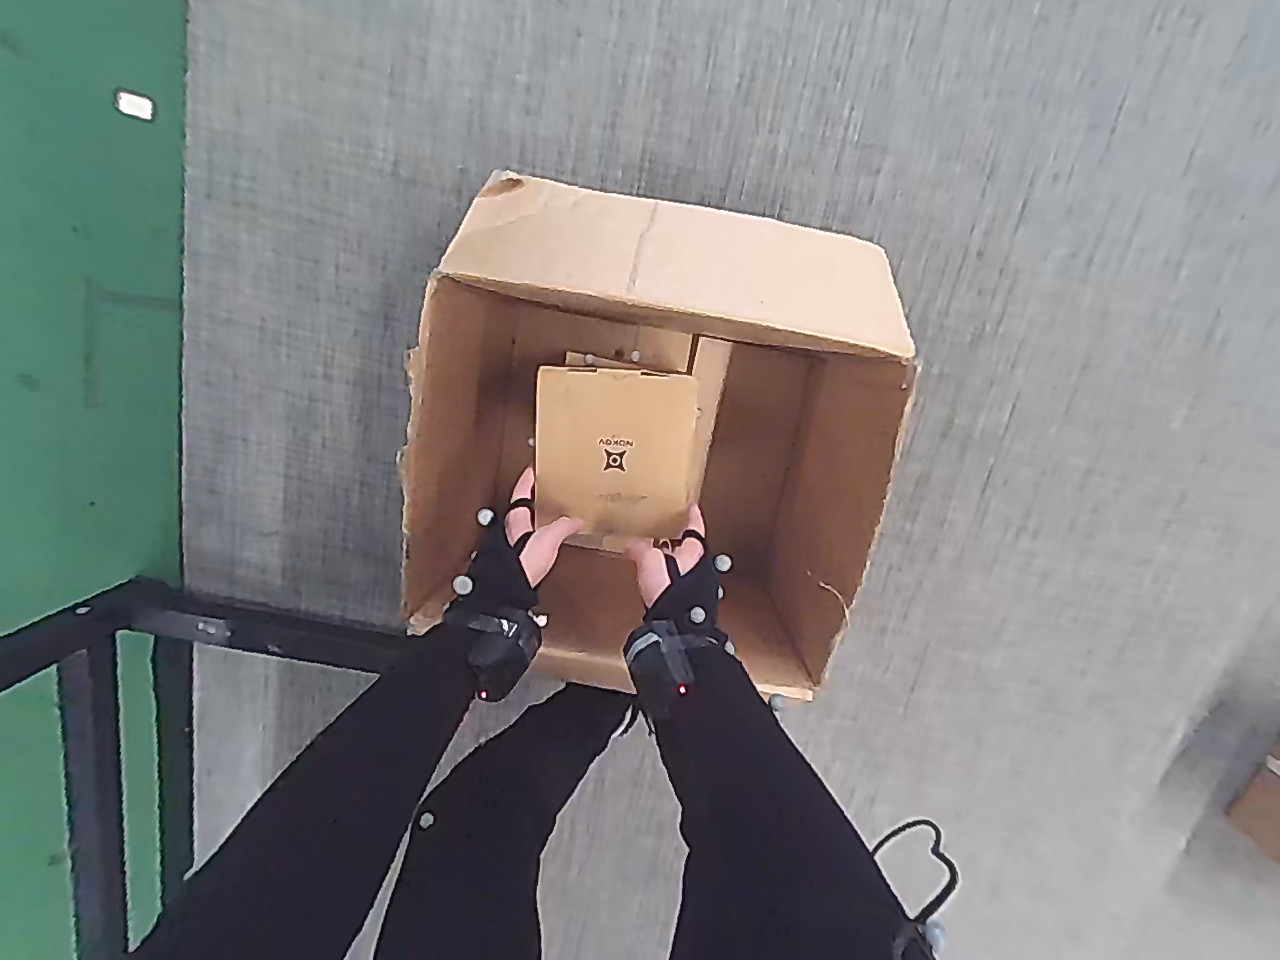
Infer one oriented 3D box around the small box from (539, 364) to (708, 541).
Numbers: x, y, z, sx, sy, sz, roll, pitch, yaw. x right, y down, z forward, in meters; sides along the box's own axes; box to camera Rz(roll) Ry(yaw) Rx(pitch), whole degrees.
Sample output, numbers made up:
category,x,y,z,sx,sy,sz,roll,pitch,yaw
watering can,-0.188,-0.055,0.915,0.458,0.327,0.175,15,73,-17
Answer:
category,x,y,z,sx,sy,sz,roll,pitch,yaw
small box,-0.021,-0.042,0.628,0.168,0.176,0.179,3,103,-1
